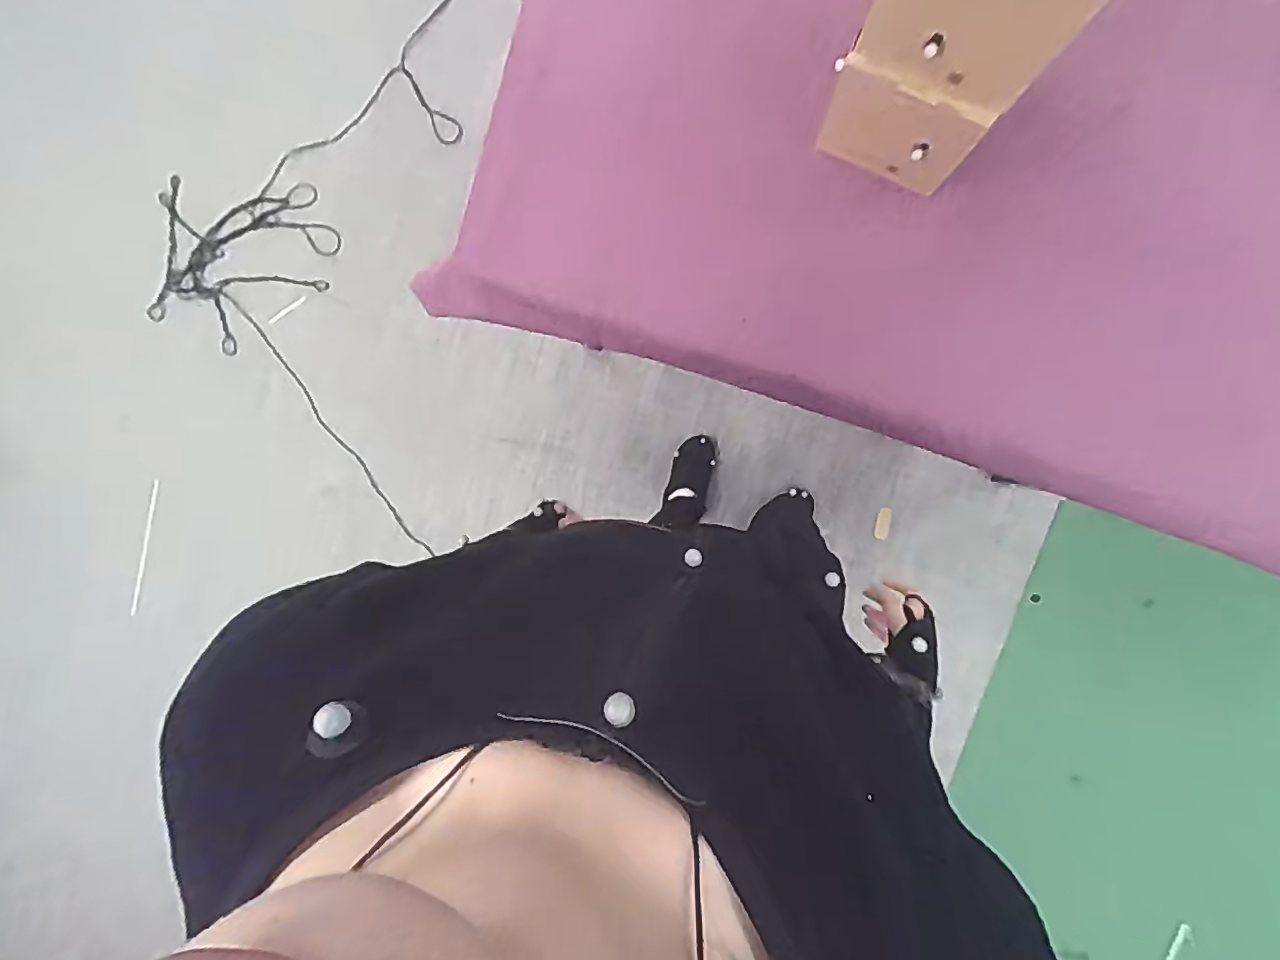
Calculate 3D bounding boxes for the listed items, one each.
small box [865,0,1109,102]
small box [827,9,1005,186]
[{"bbox_3d":[0.317,-0.474,0.452,0.168,0.176,0.179,25,98,3],"label":"small box"},{"bbox_3d":[0.333,-0.476,0.614,0.168,0.176,0.179,29,97,4],"label":"small box"}]
